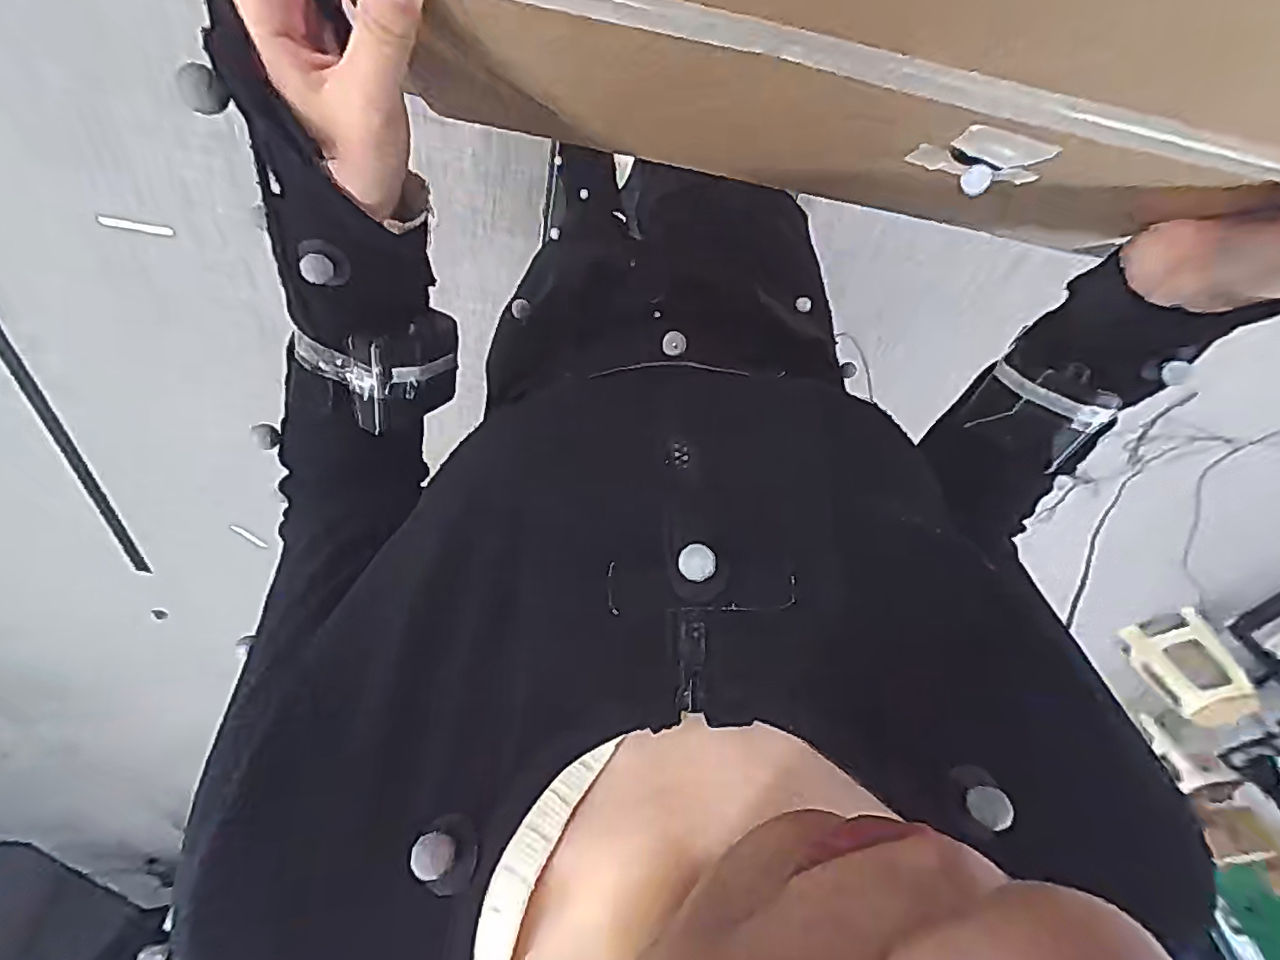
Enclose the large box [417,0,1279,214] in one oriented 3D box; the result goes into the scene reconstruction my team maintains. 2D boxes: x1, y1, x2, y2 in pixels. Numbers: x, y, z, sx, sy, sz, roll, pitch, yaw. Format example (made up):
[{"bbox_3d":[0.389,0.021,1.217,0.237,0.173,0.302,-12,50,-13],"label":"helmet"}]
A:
[{"bbox_3d":[0.130,-0.299,0.127,0.408,0.320,0.320,8,104,-6],"label":"large box"}]
